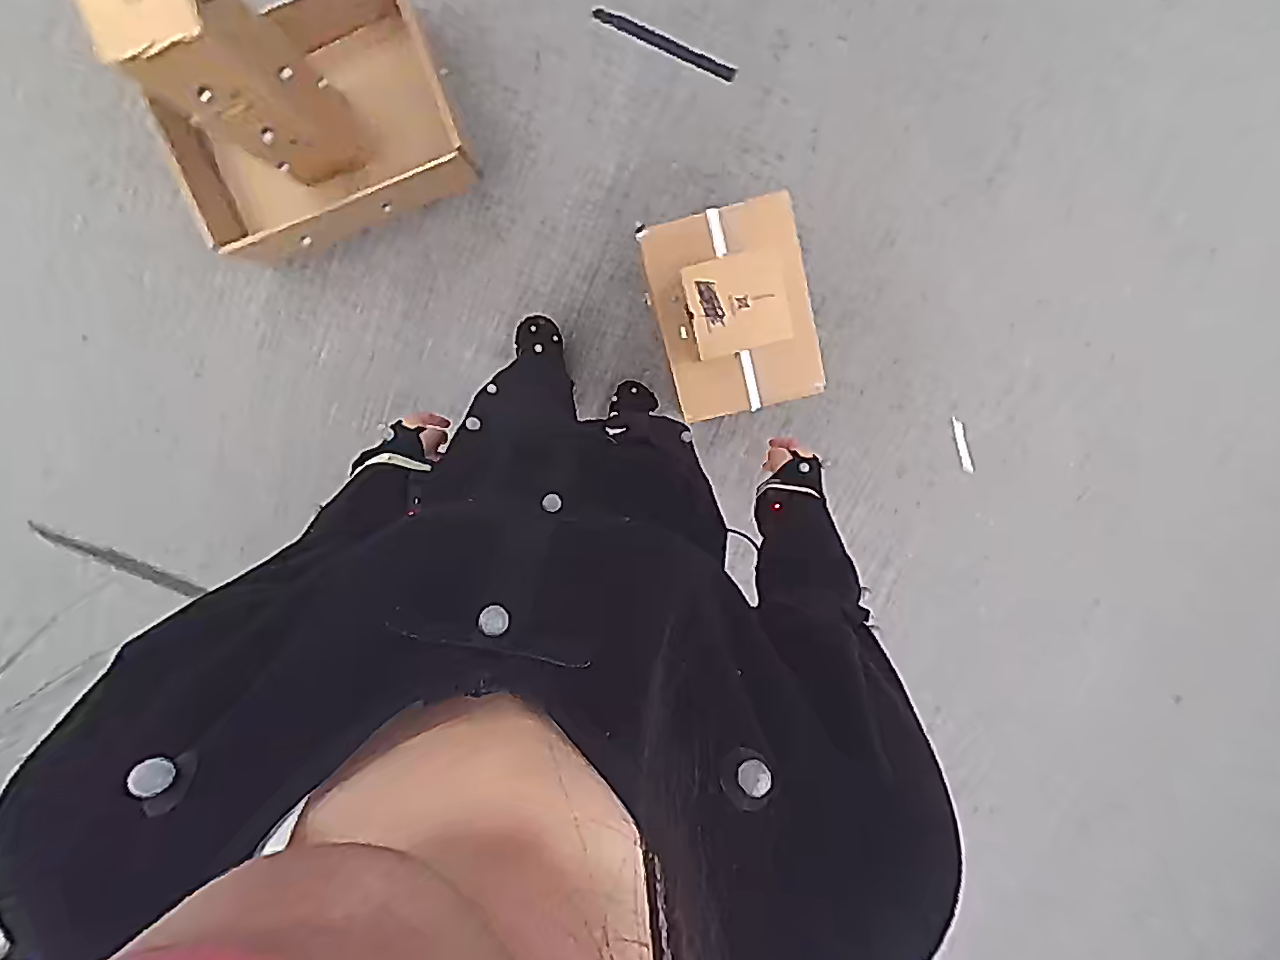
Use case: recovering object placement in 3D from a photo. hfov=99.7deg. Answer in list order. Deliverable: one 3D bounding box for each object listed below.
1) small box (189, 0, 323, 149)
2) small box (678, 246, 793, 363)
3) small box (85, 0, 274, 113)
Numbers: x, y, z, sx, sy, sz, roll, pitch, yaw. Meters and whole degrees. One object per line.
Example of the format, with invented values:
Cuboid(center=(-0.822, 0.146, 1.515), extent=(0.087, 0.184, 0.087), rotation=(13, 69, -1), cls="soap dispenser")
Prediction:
Cuboid(center=(-0.761, -0.776, 1.053), extent=(0.168, 0.176, 0.179), rotation=(-15, 100, 2), cls="small box")
Cuboid(center=(0.172, -0.323, 1.028), extent=(0.179, 0.176, 0.168), rotation=(-14, 101, 3), cls="small box")
Cuboid(center=(-0.758, -0.756, 0.890), extent=(0.168, 0.176, 0.179), rotation=(-16, 100, 3), cls="small box")
